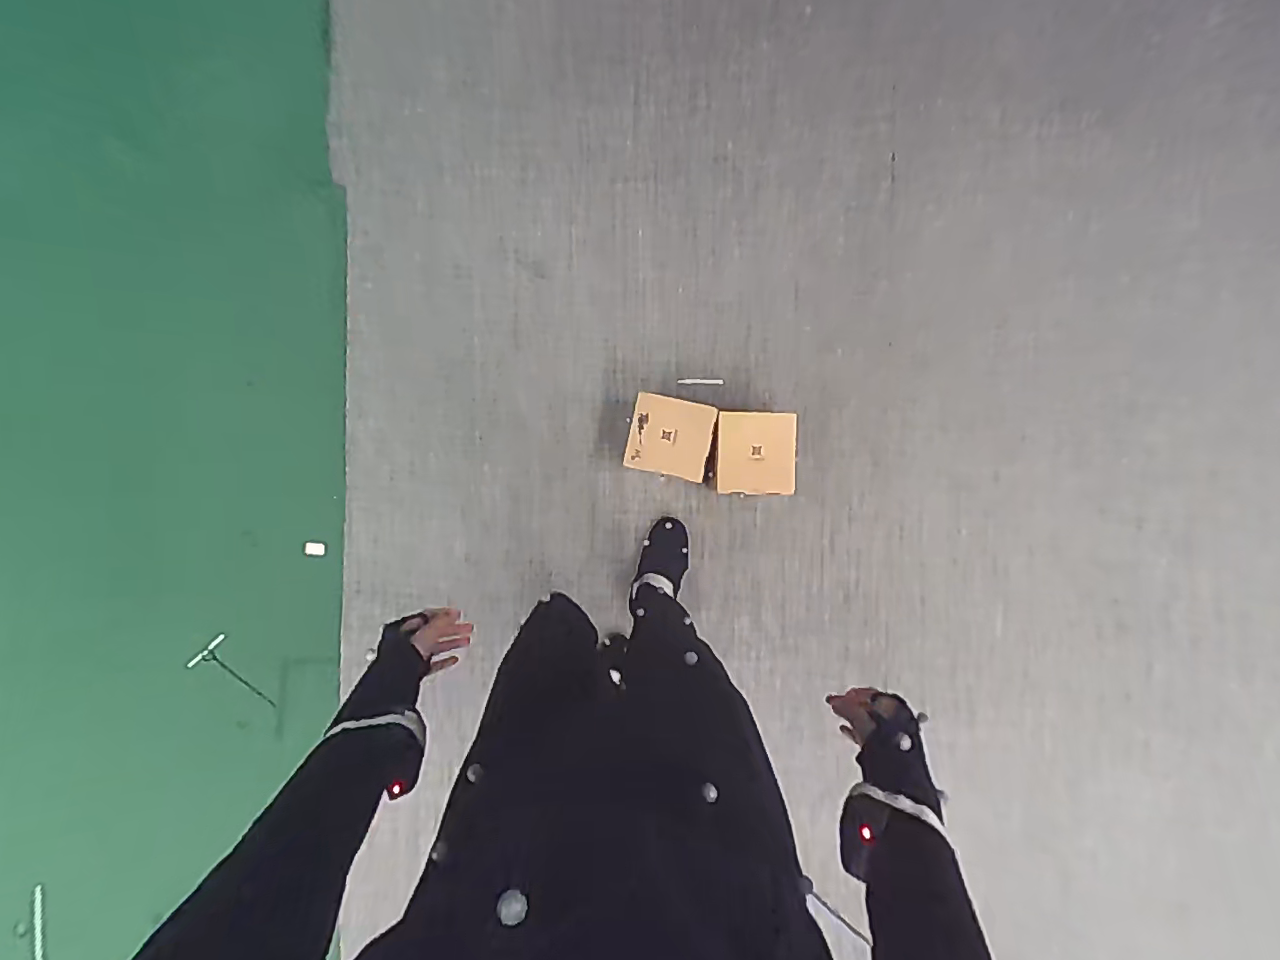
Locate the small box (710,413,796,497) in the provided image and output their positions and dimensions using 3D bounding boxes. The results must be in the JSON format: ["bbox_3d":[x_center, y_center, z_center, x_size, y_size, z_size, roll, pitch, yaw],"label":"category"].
[{"bbox_3d":[0.248,-0.052,1.221,0.168,0.176,0.179,1,91,2],"label":"small box"}]
